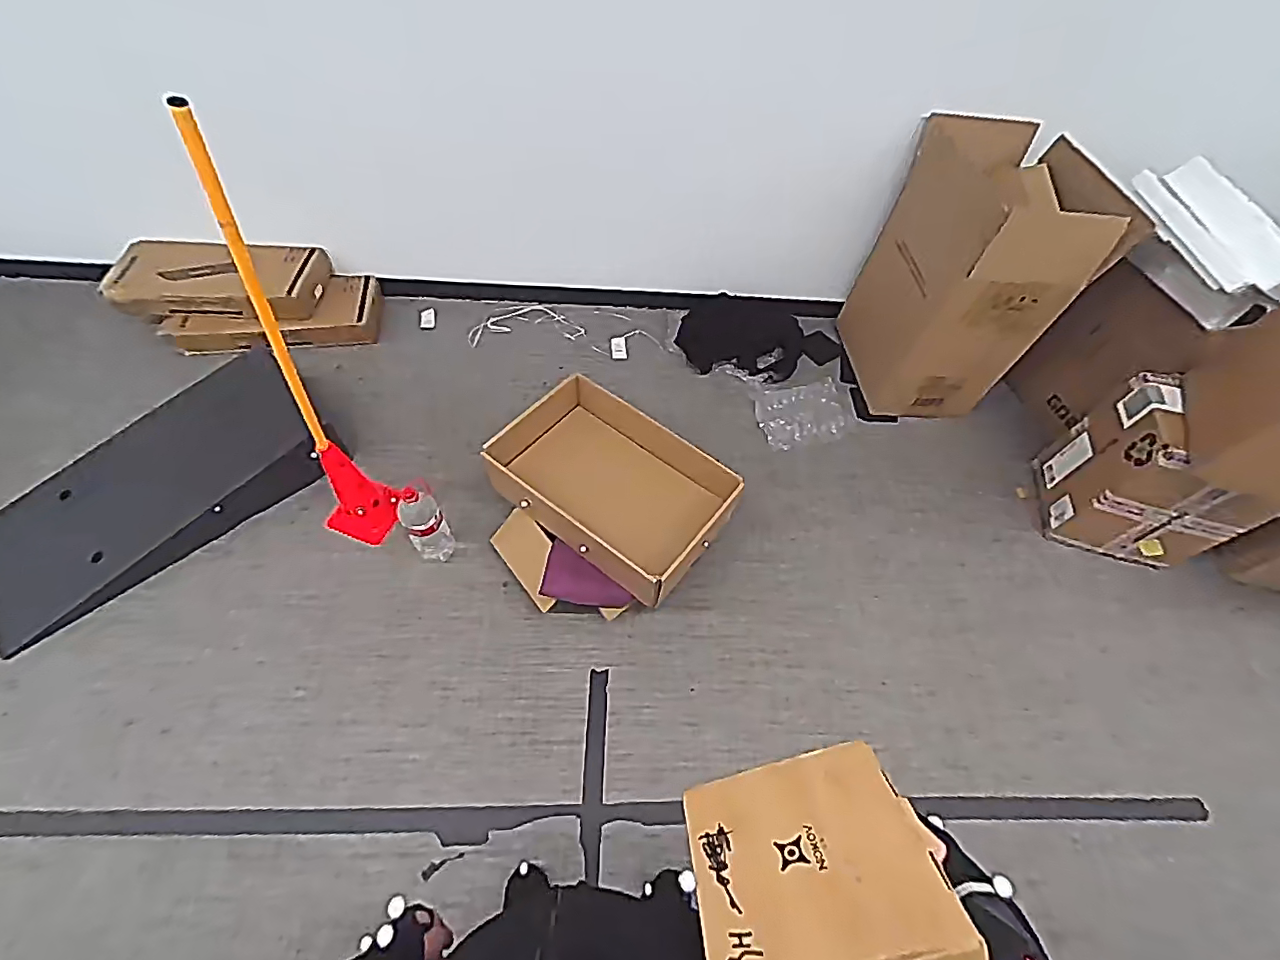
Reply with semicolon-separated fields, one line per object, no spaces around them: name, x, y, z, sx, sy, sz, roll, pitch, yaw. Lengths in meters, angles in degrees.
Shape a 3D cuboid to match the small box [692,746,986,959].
small box;0.156;0.366;0.448;0.179;0.176;0.168;-17;16;3
